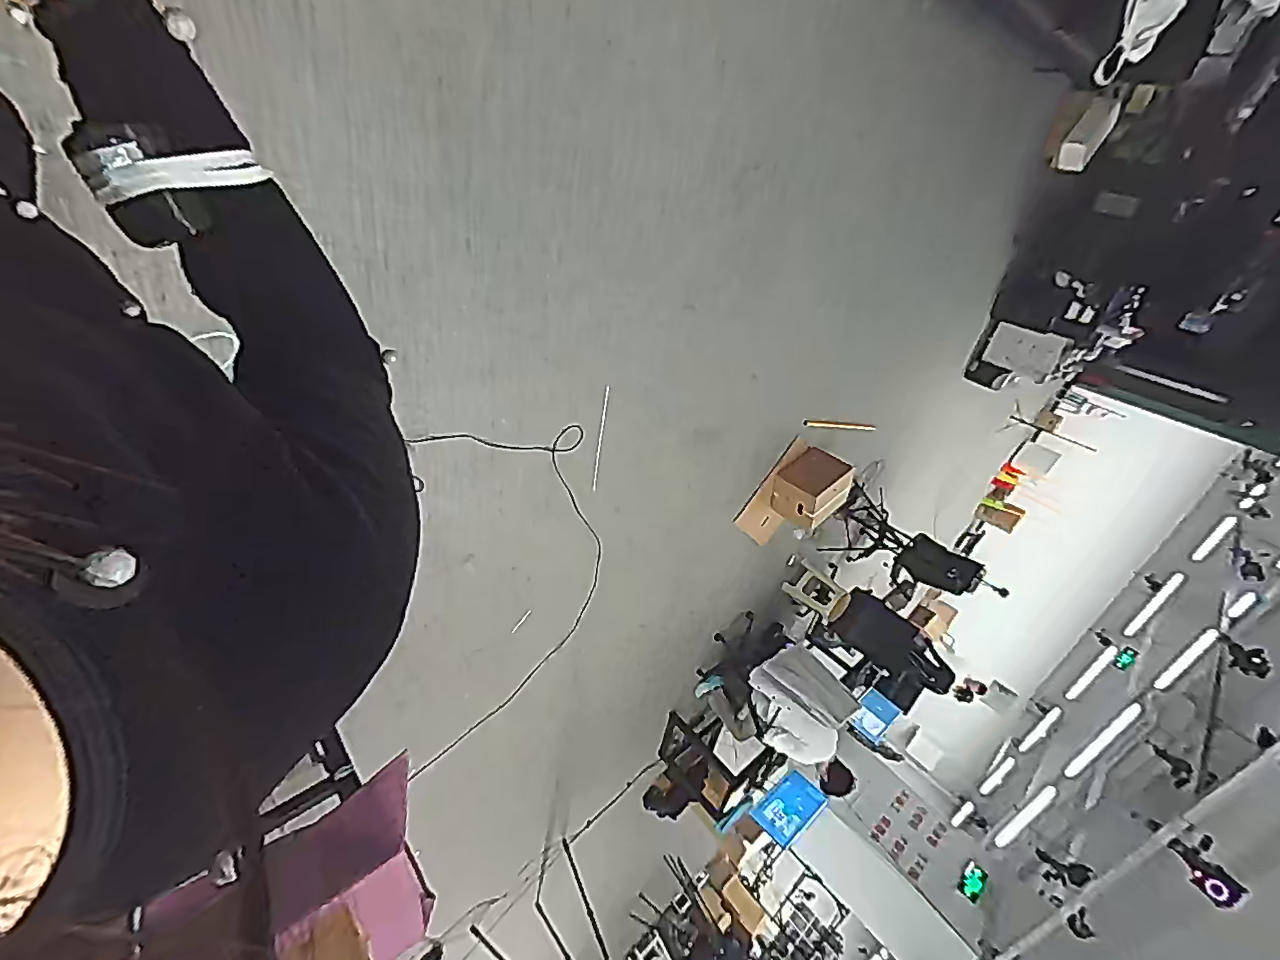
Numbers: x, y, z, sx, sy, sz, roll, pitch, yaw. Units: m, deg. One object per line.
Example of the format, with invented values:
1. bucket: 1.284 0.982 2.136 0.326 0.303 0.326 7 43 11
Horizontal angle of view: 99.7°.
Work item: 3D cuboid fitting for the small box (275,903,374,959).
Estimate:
1. small box: -0.736 1.162 1.283 0.168 0.176 0.179 -22 135 -36
